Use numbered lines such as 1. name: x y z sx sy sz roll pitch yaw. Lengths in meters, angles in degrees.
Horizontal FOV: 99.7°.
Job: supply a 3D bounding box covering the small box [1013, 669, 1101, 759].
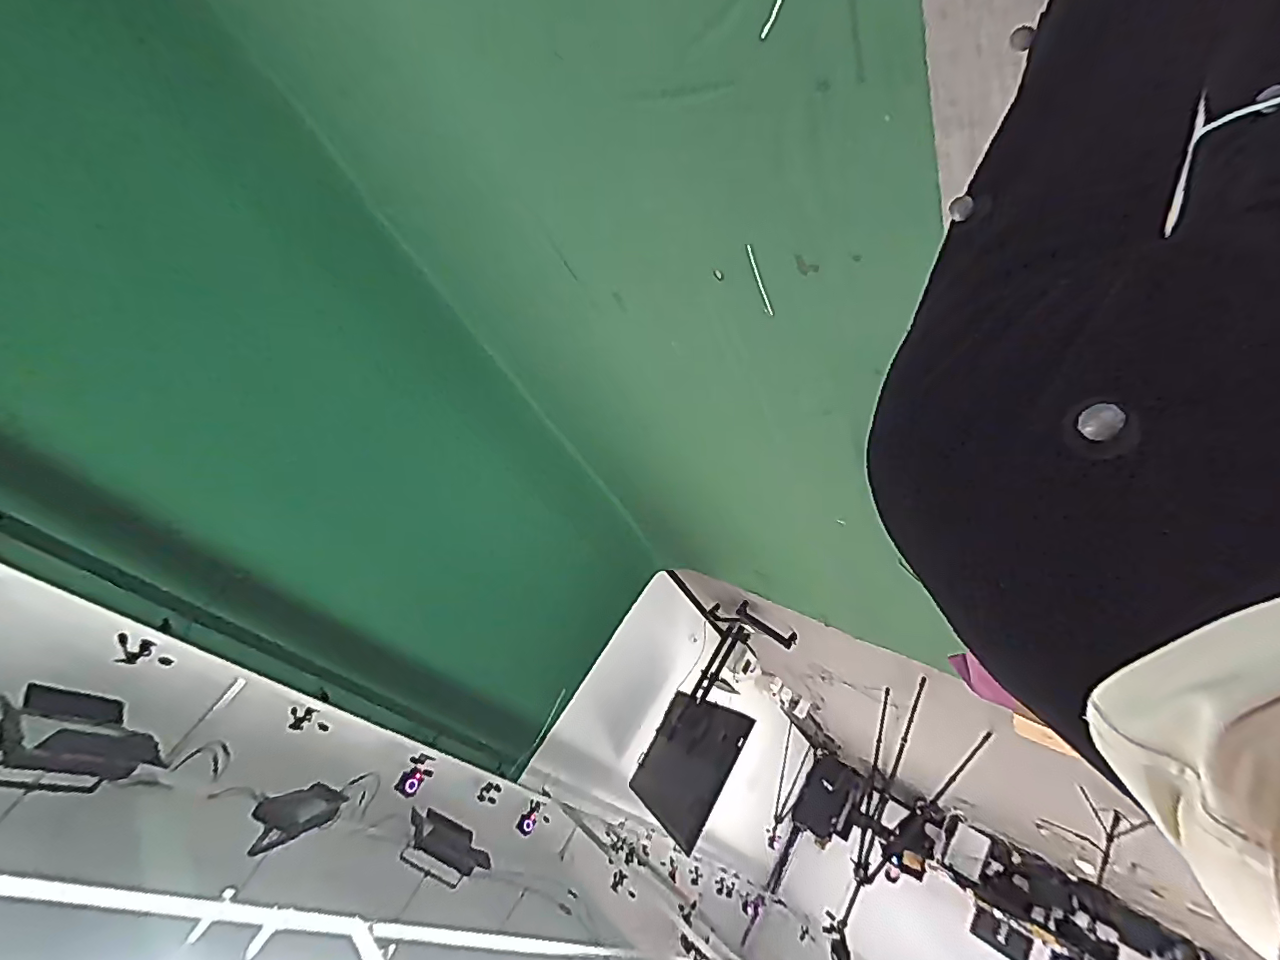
1. small box: 1.251 0.693 1.626 0.179 0.176 0.168 14 151 43
